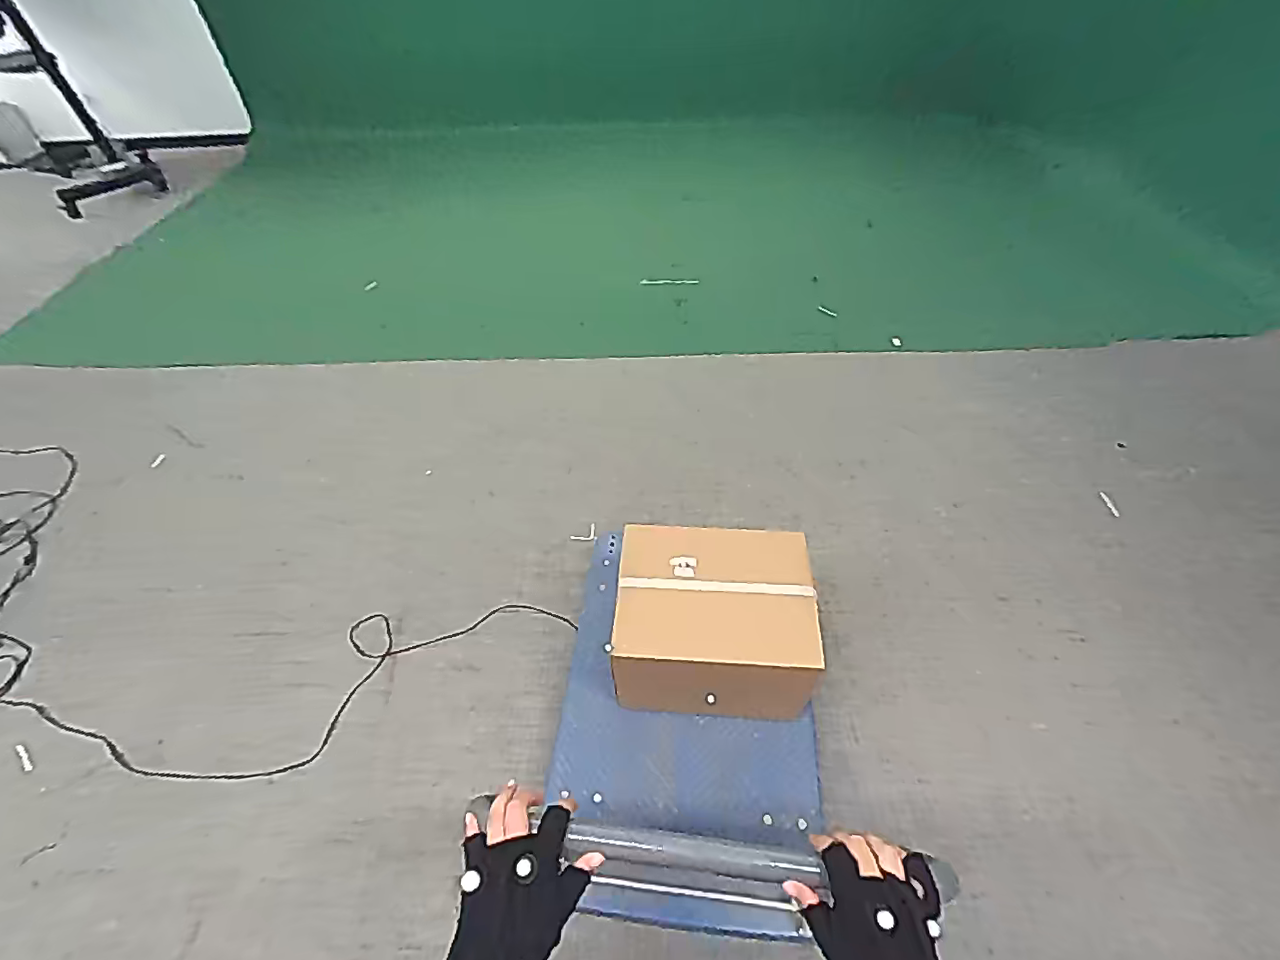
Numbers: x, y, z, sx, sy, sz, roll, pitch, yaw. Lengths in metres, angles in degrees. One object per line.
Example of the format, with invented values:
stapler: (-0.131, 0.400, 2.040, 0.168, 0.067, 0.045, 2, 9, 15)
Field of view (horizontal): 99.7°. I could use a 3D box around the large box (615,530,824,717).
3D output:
large box: (0.165, 0.329, 1.232, 0.408, 0.320, 0.320, 2, 48, 4)
